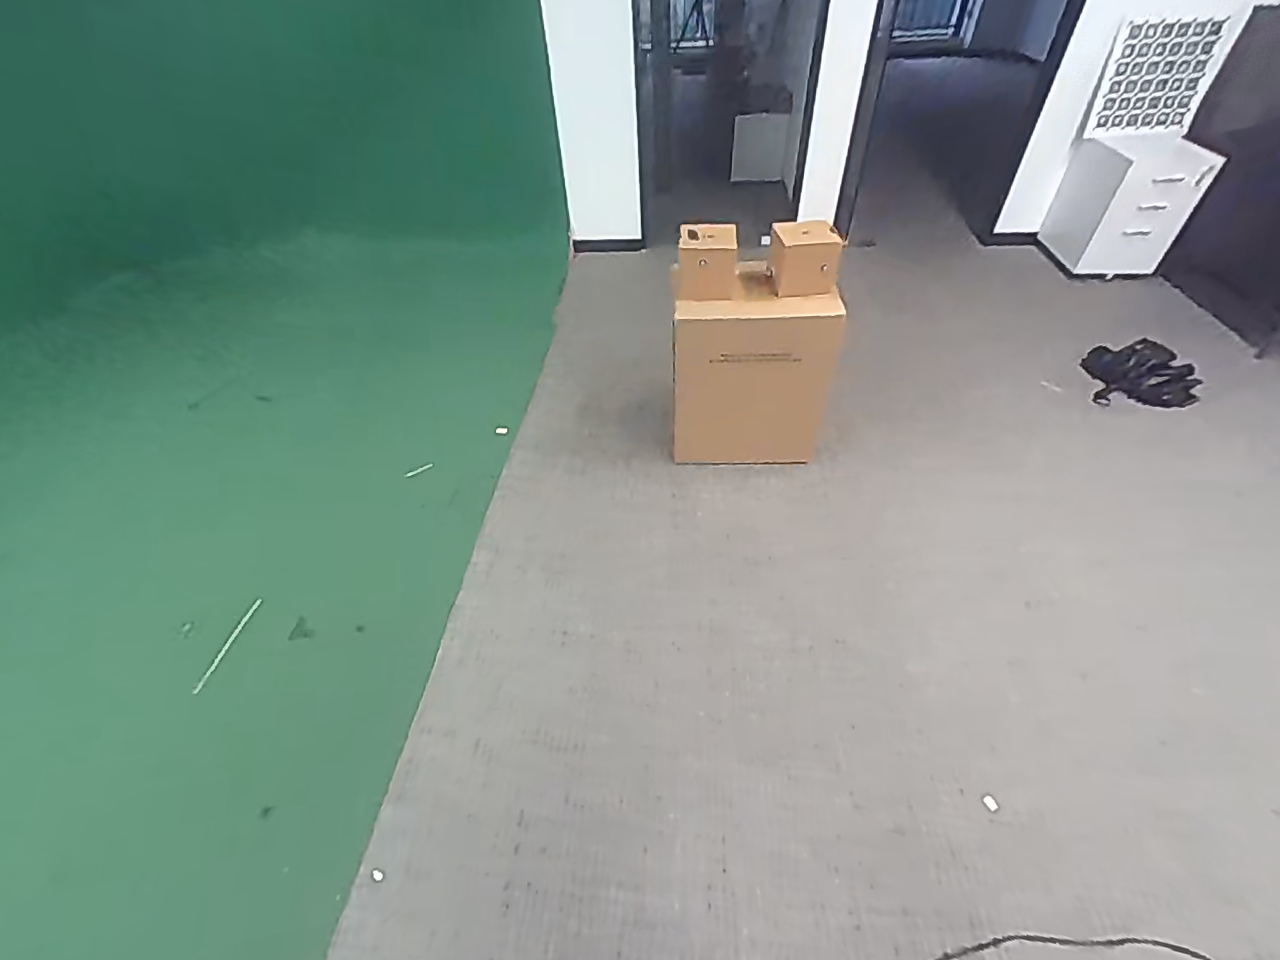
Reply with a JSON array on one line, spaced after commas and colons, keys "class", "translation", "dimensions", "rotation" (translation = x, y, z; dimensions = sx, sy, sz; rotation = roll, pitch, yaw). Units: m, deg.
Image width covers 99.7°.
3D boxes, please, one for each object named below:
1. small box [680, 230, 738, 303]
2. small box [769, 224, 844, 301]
[{"class": "small box", "translation": [0.222, -0.683, 1.735], "dimensions": [0.179, 0.176, 0.168], "rotation": [2, 48, 6]}, {"class": "small box", "translation": [0.521, -0.690, 1.720], "dimensions": [0.179, 0.176, 0.168], "rotation": [-7, 46, 0]}]
